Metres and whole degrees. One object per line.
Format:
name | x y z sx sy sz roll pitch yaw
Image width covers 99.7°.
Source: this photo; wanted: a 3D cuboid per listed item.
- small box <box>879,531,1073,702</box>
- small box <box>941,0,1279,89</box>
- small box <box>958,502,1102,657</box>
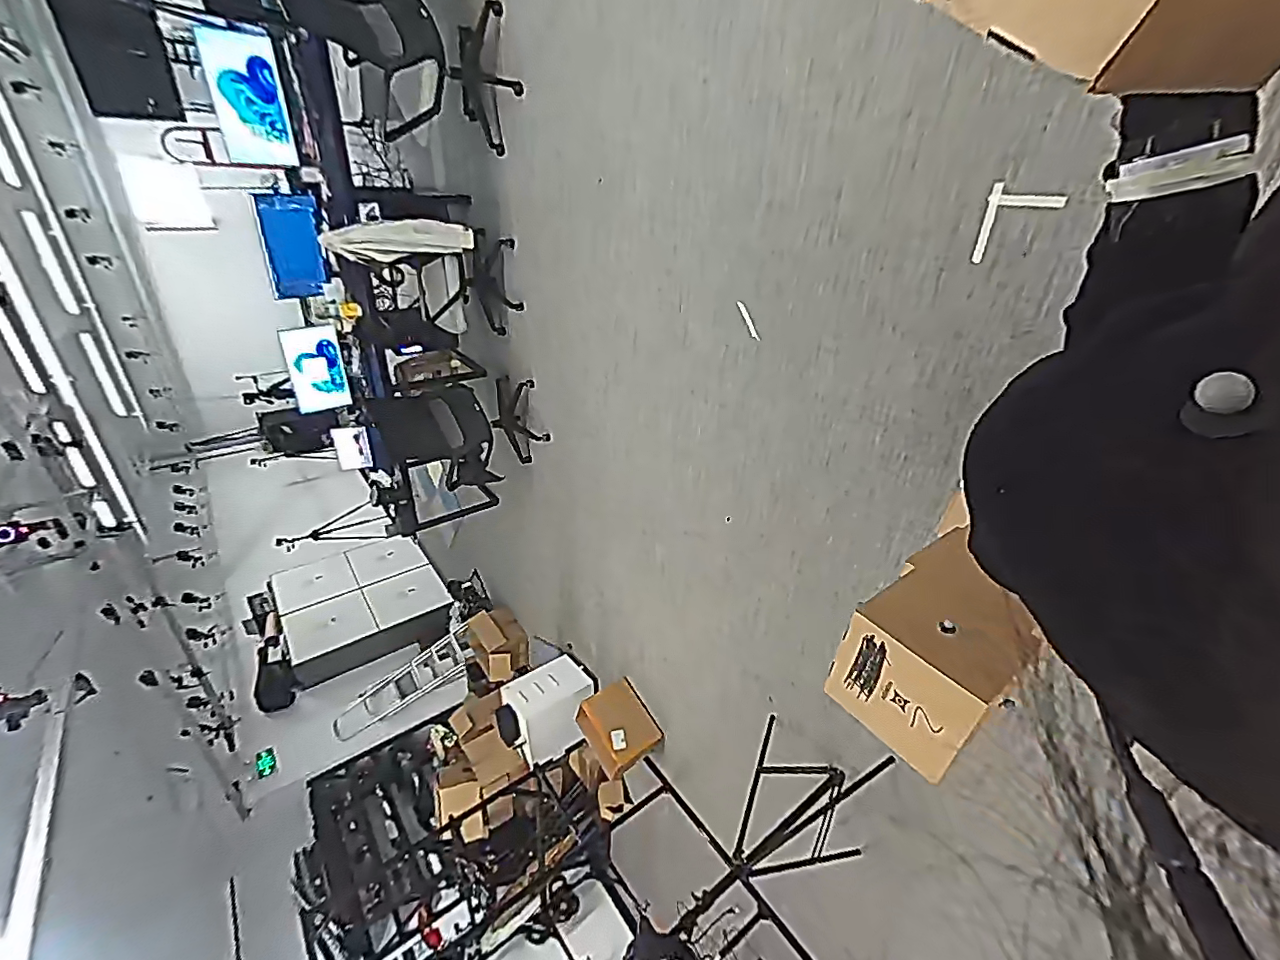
small box | 0.515 0.197 0.840 0.179 0.176 0.168 35 133 43
small box | 0.239 -0.297 0.221 0.168 0.176 0.179 61 156 26
small box | 0.649 0.157 0.926 0.168 0.176 0.179 28 129 47
